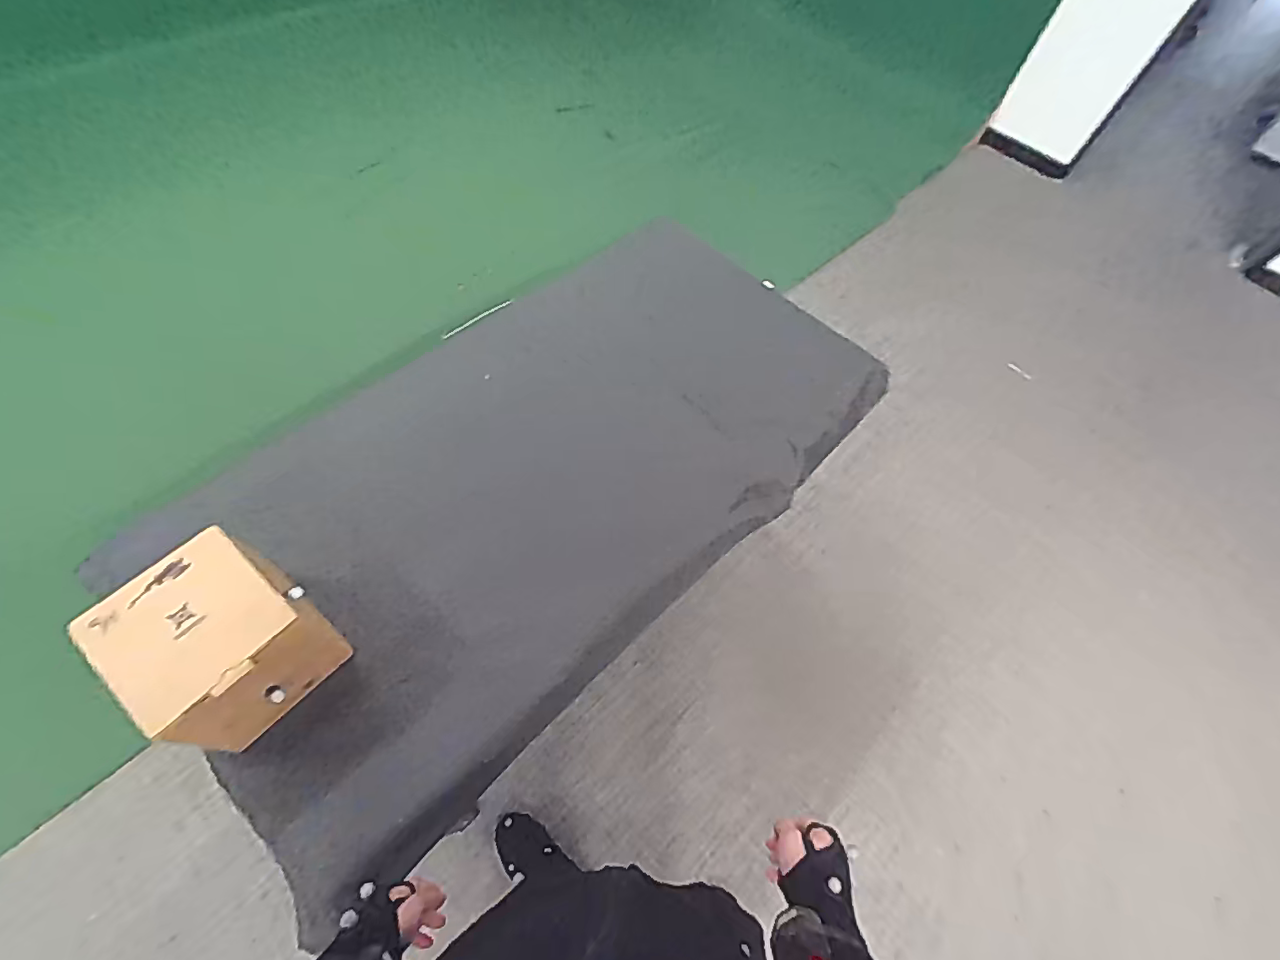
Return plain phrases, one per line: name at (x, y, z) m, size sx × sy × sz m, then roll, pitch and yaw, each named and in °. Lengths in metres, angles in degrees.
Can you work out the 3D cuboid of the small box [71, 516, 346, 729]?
small box at (-0.505, 0.181, 0.664) m, size 0.179 × 0.176 × 0.168 m, roll 39°, pitch 64°, yaw 14°
